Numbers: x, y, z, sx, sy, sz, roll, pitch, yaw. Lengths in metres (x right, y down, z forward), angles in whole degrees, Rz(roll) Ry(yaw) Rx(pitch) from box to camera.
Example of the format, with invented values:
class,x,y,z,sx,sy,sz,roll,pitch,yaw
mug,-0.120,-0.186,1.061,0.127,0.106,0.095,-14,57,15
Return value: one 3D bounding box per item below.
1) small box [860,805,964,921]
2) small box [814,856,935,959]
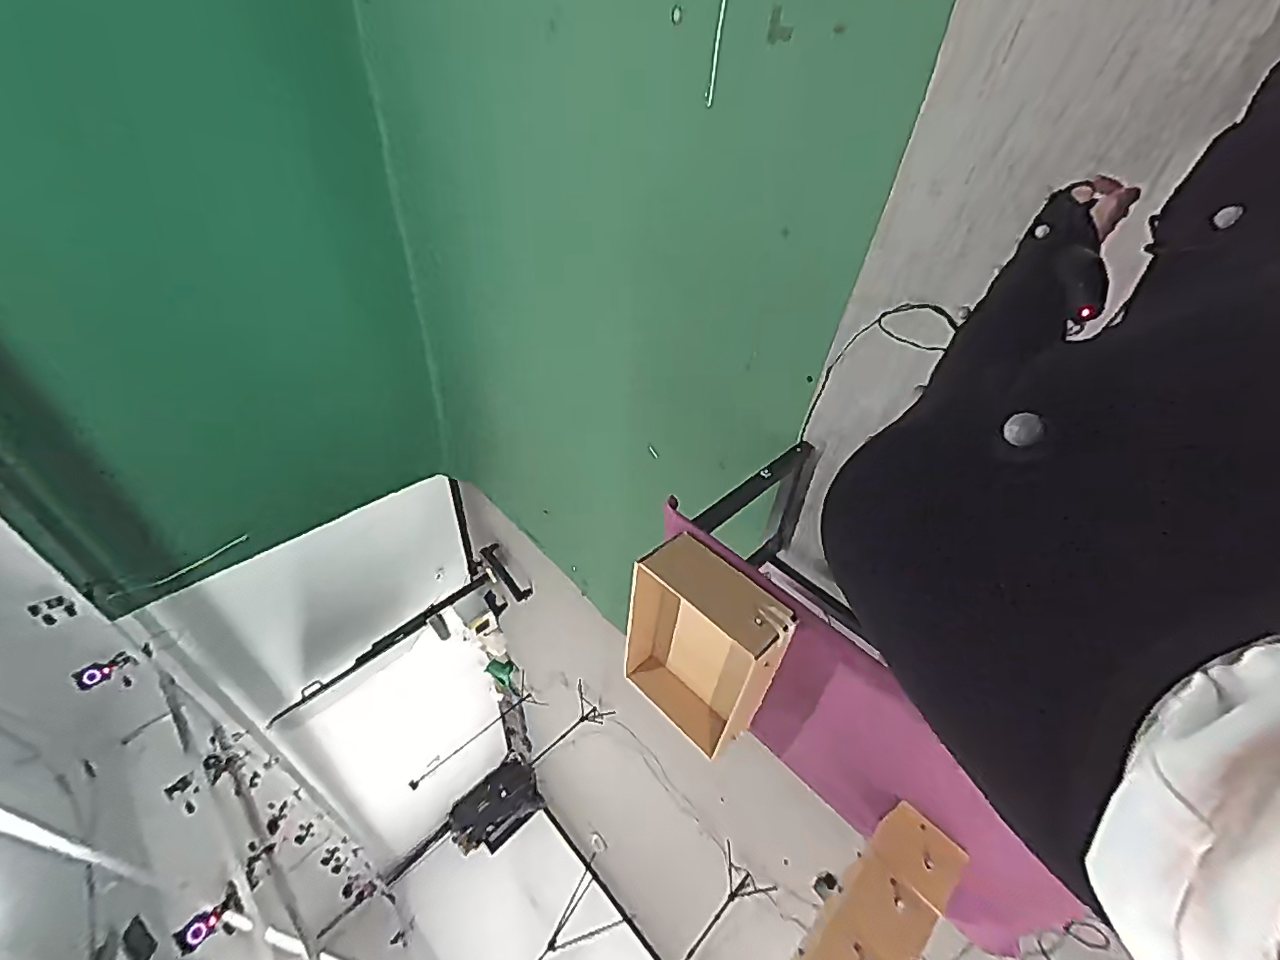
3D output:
class,x,y,z,sx,sy,sz,roll,pitch,yaw
small box,0.658,0.939,1.320,0.168,0.176,0.179,35,140,31
small box,0.536,1.008,1.234,0.168,0.176,0.179,38,141,28
